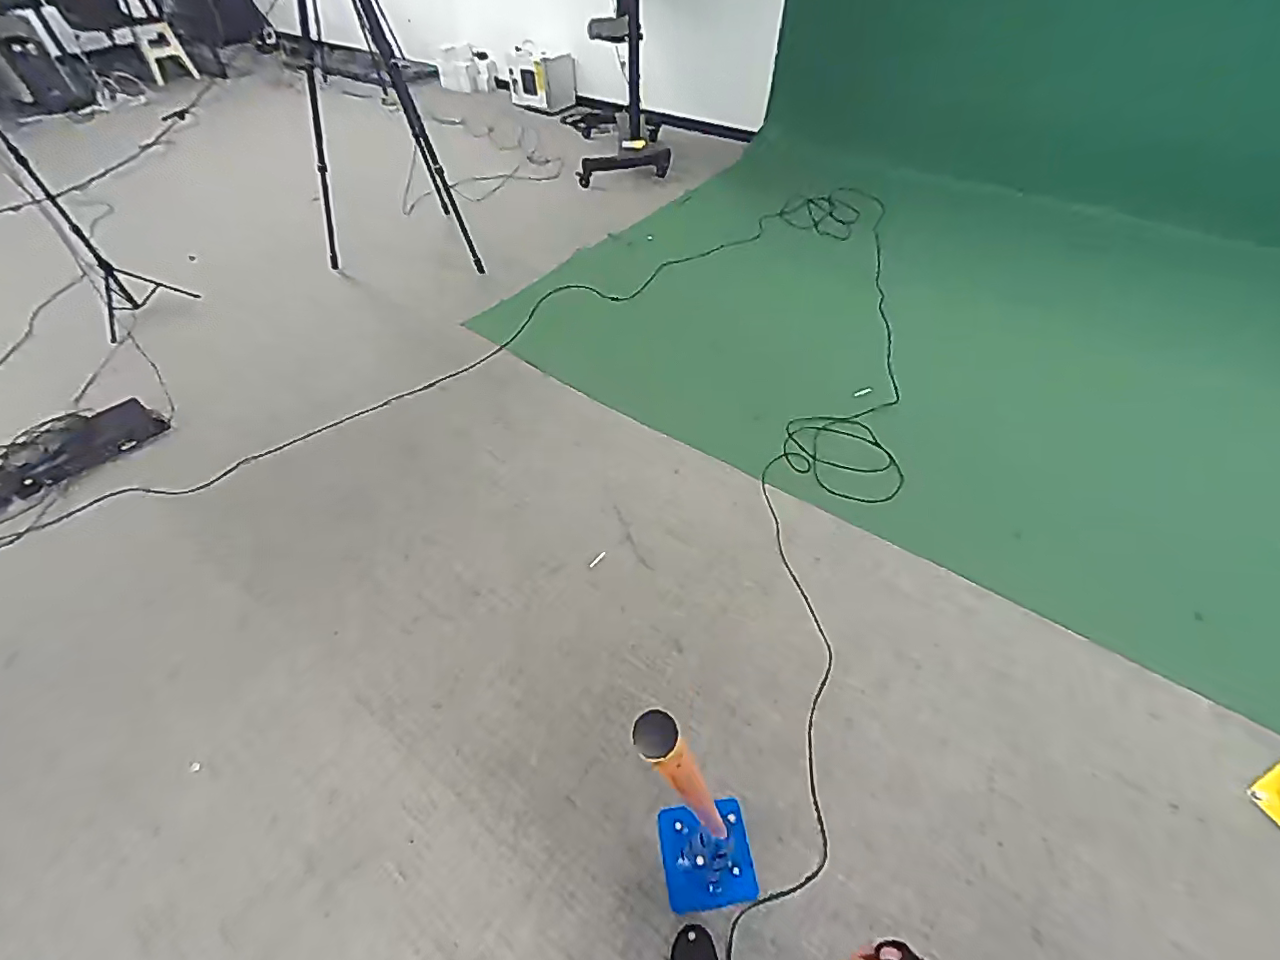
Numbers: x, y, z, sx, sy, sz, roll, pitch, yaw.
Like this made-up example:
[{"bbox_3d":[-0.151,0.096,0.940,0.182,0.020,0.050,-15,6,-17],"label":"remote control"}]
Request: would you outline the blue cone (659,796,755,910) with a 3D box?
[{"bbox_3d":[0.143,0.728,1.083,0.193,0.380,0.192,-9,51,-5],"label":"blue cone"}]
